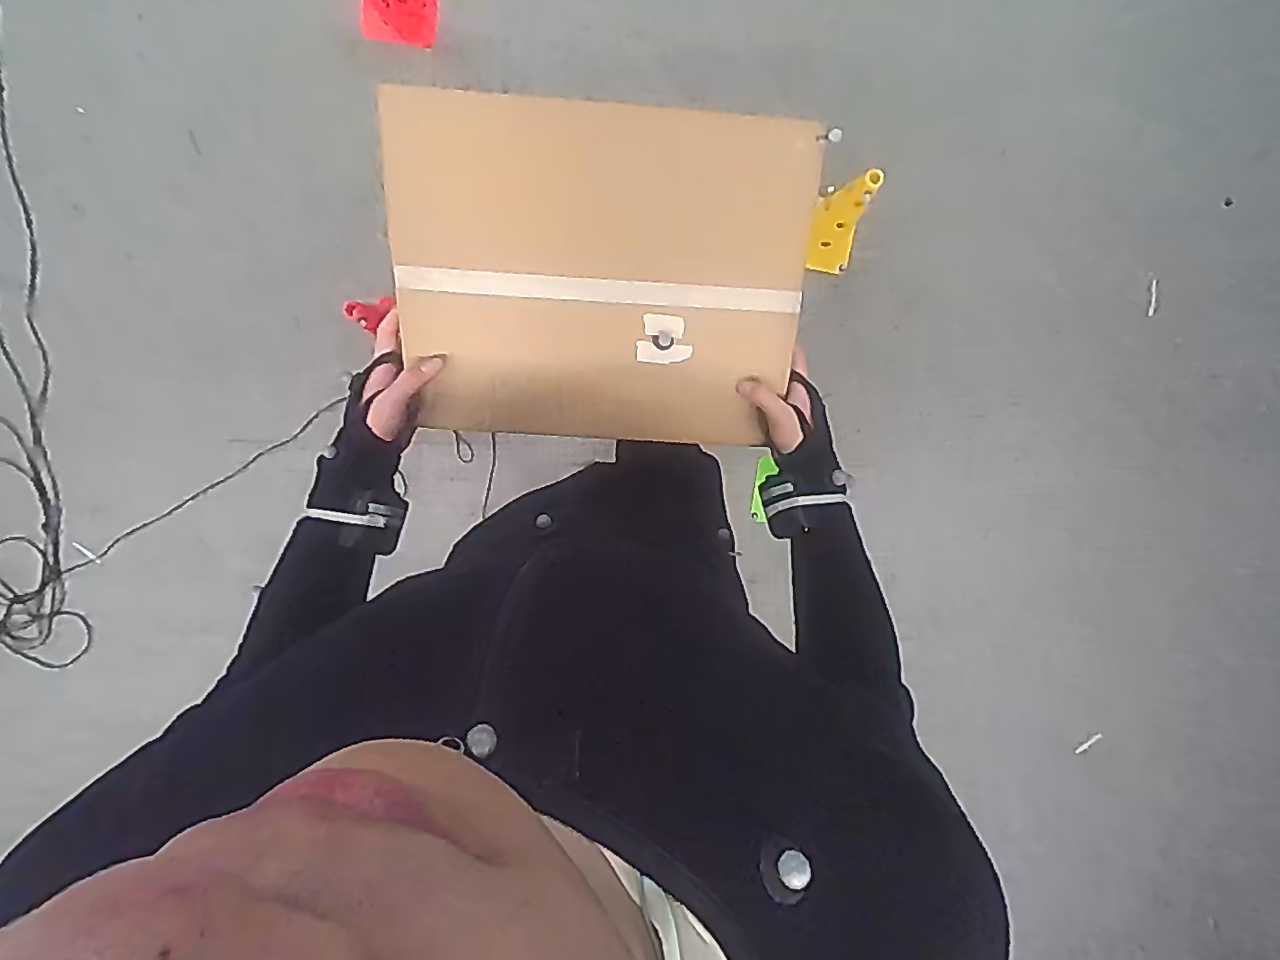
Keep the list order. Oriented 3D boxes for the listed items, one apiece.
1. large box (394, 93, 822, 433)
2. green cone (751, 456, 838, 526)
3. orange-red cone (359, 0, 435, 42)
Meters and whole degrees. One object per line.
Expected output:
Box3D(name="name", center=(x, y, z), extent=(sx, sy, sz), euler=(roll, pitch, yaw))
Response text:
Box3D(name="large box", center=(-0.040, -0.255, 0.689), extent=(0.408, 0.320, 0.320), euler=(2, 113, -4))
Box3D(name="green cone", center=(0.450, 0.051, 1.465), extent=(0.200, 0.368, 0.202), euler=(6, 95, -3))
Box3D(name="orange-red cone", center=(-0.642, -1.267, 1.272), extent=(0.199, 0.360, 0.198), euler=(8, 96, -1))
